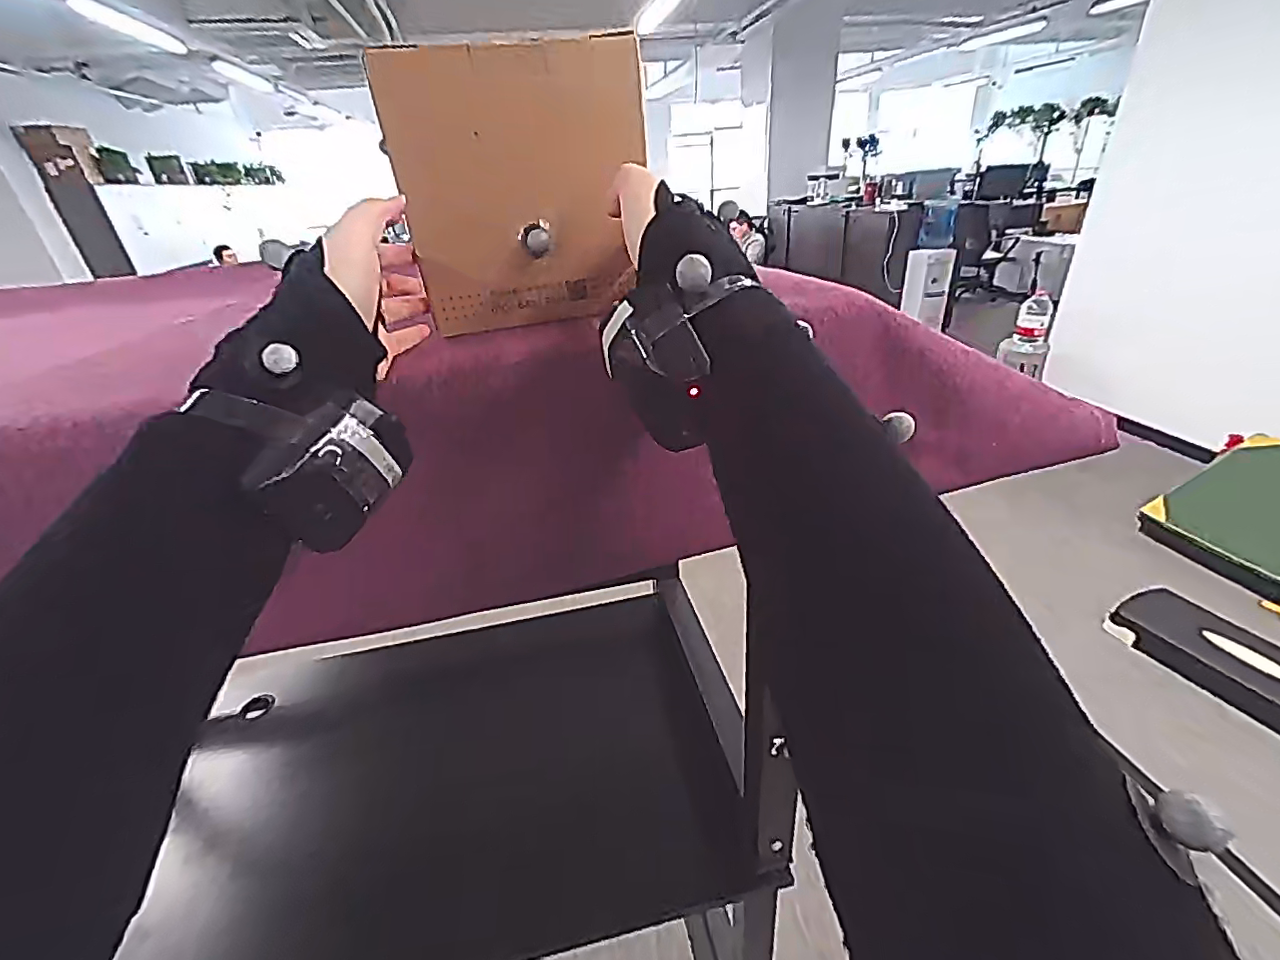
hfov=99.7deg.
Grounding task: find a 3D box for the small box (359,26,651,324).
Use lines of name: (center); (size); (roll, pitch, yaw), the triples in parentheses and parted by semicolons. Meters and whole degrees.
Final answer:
small box: (-0.094, -0.228, 0.427); (0.168, 0.176, 0.179); (-12, 29, -10)
